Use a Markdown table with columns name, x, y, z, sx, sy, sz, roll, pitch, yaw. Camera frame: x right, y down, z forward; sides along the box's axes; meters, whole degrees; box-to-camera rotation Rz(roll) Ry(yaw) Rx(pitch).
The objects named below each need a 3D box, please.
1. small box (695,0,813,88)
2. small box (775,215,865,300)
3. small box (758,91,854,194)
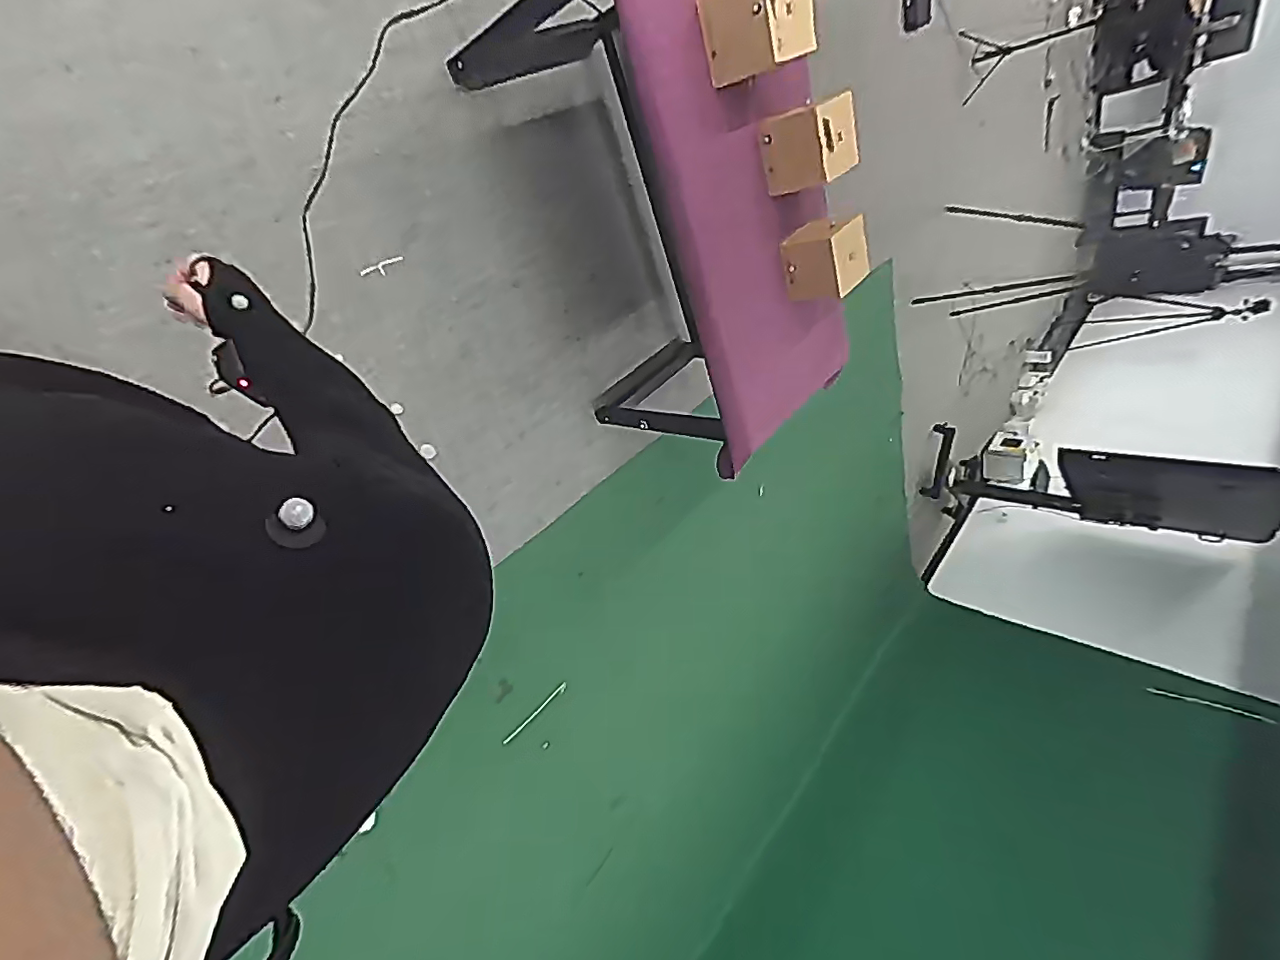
| name | x | y | z | sx | sy | sz | roll | pitch | yaw |
| --- | --- | --- | --- | --- | --- | --- | --- | --- | --- |
| small box | 0.248 | -0.986 | 1.172 | 0.179 | 0.176 | 0.168 | -41 | 124 | -31 |
| small box | 0.505 | -0.620 | 1.518 | 0.179 | 0.176 | 0.168 | -42 | 125 | -28 |
| small box | 0.417 | -0.850 | 1.373 | 0.179 | 0.176 | 0.168 | -42 | 126 | -30 |
